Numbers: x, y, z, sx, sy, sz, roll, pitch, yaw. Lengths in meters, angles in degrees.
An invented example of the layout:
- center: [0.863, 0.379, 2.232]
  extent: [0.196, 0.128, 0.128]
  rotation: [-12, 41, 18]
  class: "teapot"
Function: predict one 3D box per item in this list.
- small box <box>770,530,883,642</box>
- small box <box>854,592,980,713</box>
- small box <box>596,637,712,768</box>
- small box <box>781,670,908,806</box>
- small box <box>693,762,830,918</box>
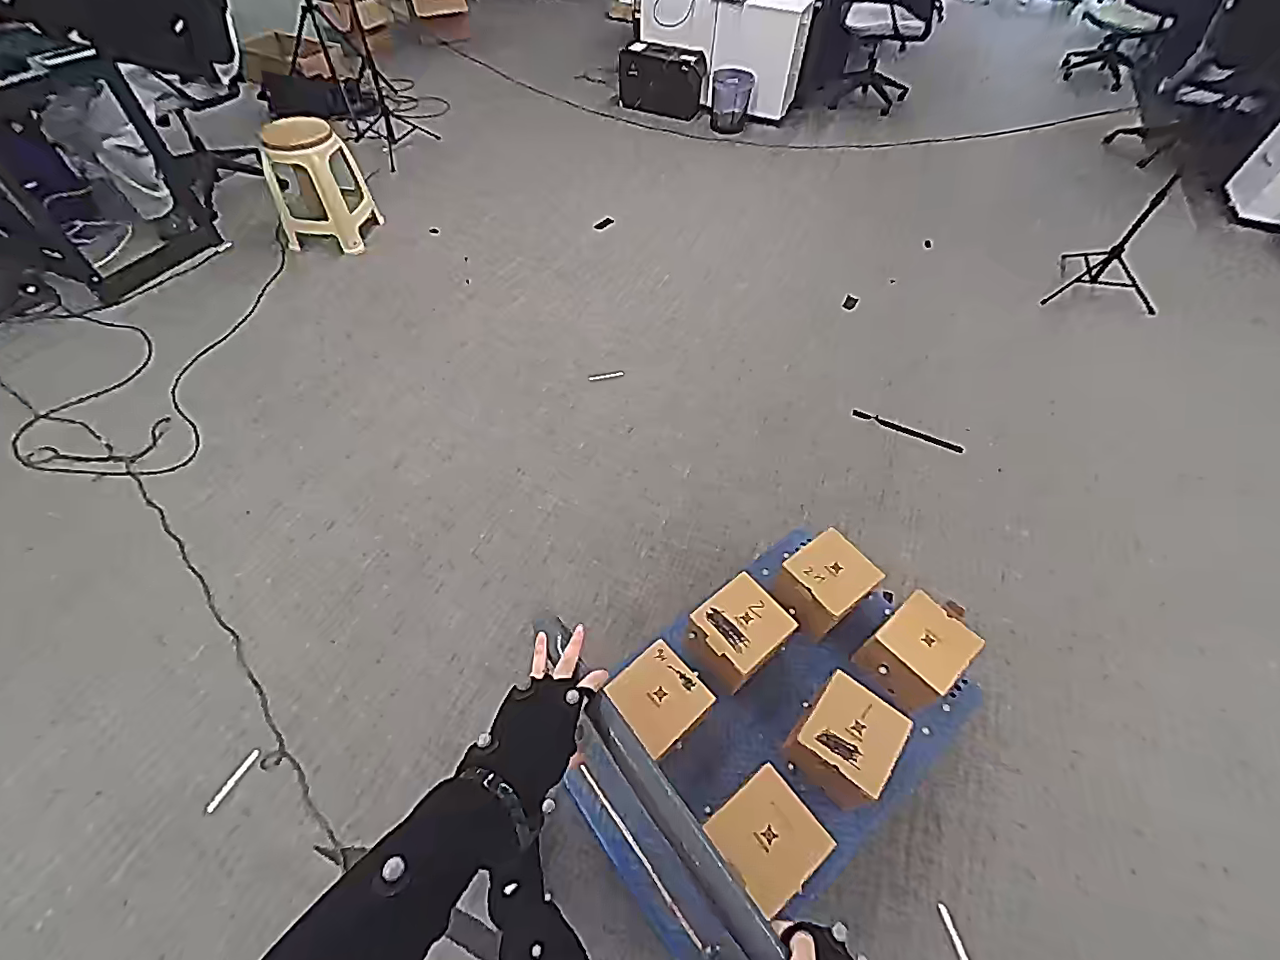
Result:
- center: [0.442, 0.259, 1.313]
  extent: [0.179, 0.176, 0.168]
  rotation: [-30, 60, -21]
  class: "small box"
- center: [0.613, 0.394, 1.223]
  extent: [0.179, 0.176, 0.168]
  rotation: [-34, 61, -24]
  class: "small box"
- center: [0.028, 0.472, 1.136]
  extent: [0.179, 0.176, 0.168]
  rotation: [-34, 63, -24]
  class: "small box"
- center: [0.408, 0.534, 1.110]
  extent: [0.168, 0.176, 0.179]
  rotation: [35, 59, 21]
  class: "small box"
- center: [0.213, 0.666, 1.005]
  extent: [0.179, 0.176, 0.168]
  rotation: [-30, 61, -23]
  class: "small box"
